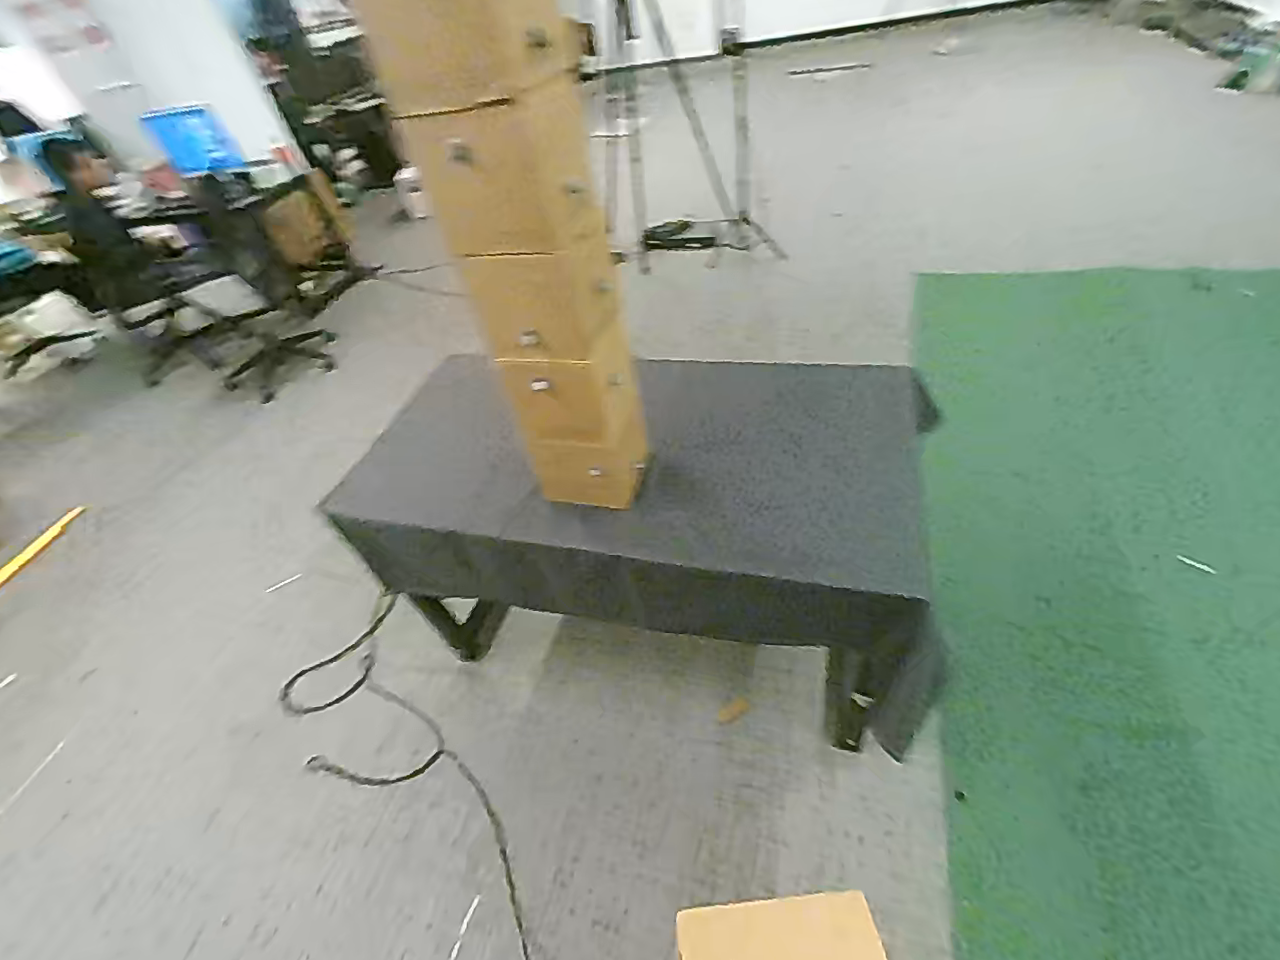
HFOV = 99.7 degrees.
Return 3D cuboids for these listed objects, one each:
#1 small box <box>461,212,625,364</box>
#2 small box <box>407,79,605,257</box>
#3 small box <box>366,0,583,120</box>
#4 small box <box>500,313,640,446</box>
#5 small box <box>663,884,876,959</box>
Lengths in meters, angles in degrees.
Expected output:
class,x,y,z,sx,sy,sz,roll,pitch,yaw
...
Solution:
class,x,y,z,sx,sy,sz,roll,pitch,yaw
small box,-0.135,-0.296,0.839,0.179,0.176,0.168,7,47,19
small box,-0.166,-0.414,0.729,0.179,0.176,0.168,6,47,18
small box,-0.189,-0.528,0.614,0.179,0.176,0.168,7,49,20
small box,-0.109,-0.176,0.948,0.179,0.176,0.168,5,47,18
small box,0.117,0.488,0.466,0.179,0.176,0.168,-6,31,-3
